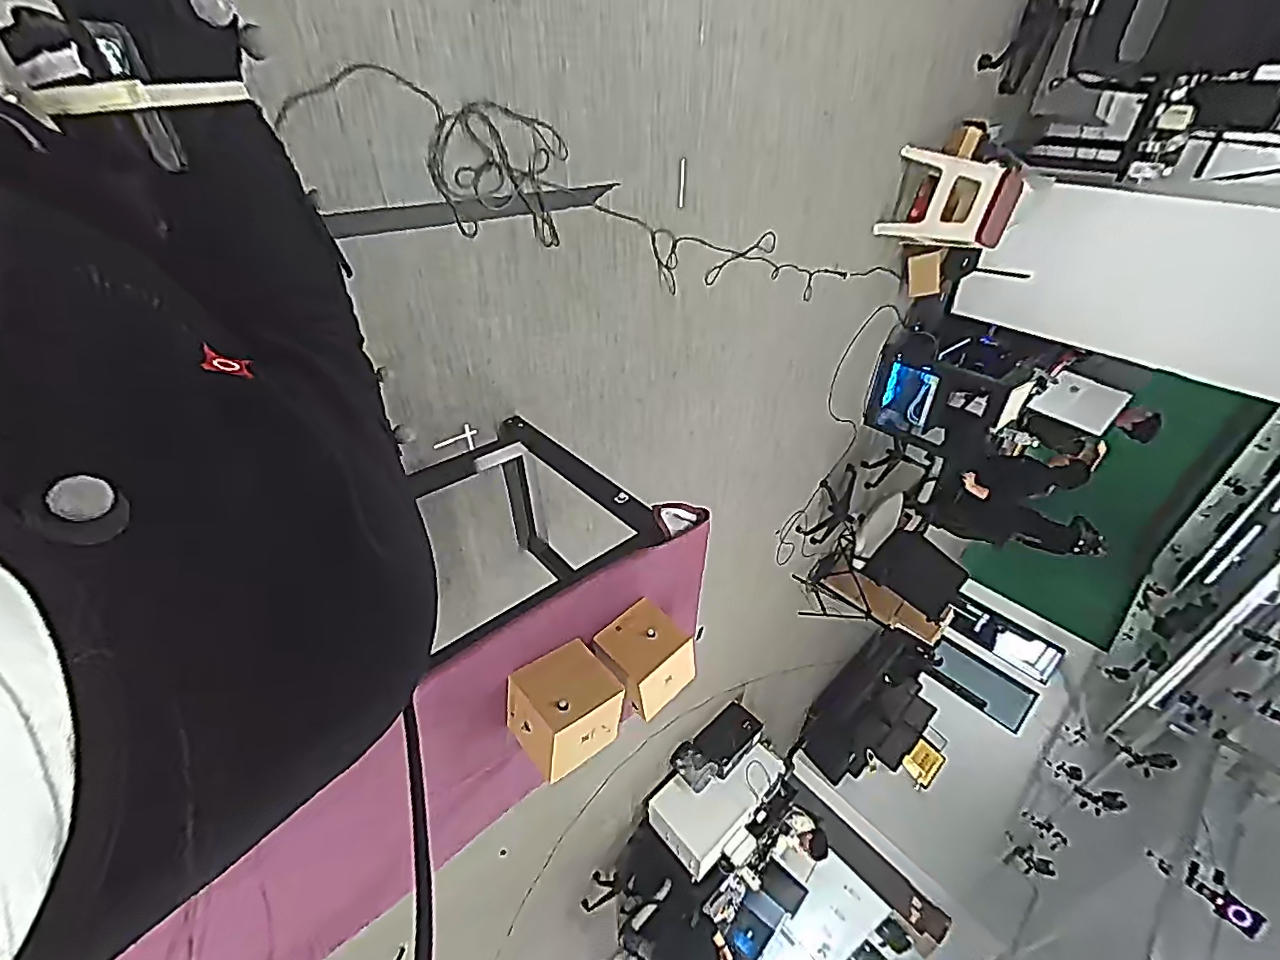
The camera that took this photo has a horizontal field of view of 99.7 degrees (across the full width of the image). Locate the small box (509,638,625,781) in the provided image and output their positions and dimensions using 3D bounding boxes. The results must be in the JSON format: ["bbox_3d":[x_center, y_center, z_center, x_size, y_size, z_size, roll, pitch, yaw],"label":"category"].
[{"bbox_3d":[-0.158,0.467,1.124,0.179,0.176,0.168,-19,131,-39],"label":"small box"}]

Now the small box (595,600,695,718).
[{"bbox_3d":[0.011,0.411,1.273,0.168,0.176,0.179,-34,138,-27],"label":"small box"}]
